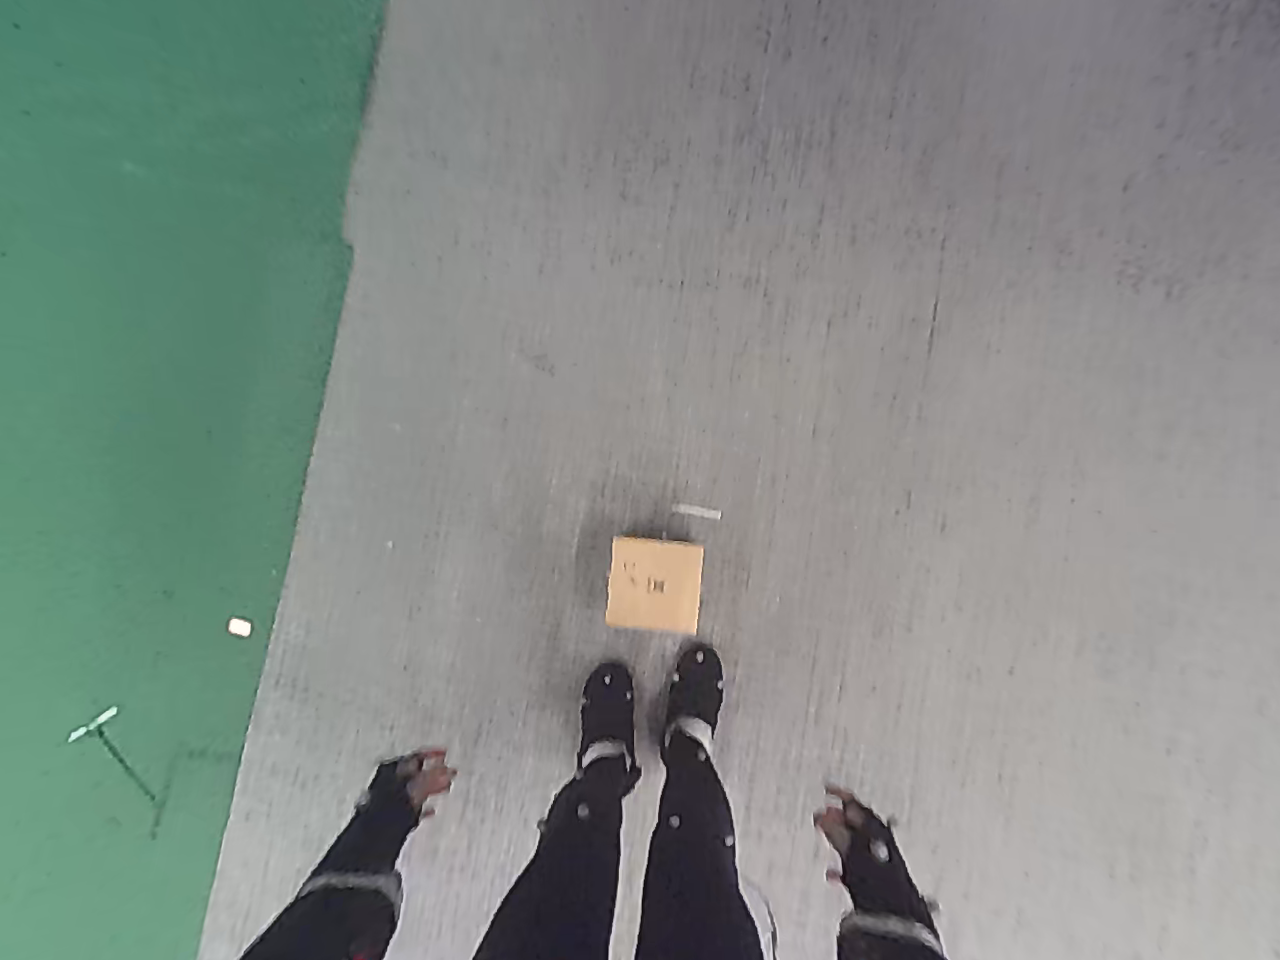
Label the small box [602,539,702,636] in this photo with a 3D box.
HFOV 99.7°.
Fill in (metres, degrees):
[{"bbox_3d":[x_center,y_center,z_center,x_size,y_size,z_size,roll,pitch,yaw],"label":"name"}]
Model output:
[{"bbox_3d":[0.026,0.212,1.107,0.179,0.176,0.168,6,84,3],"label":"small box"}]
